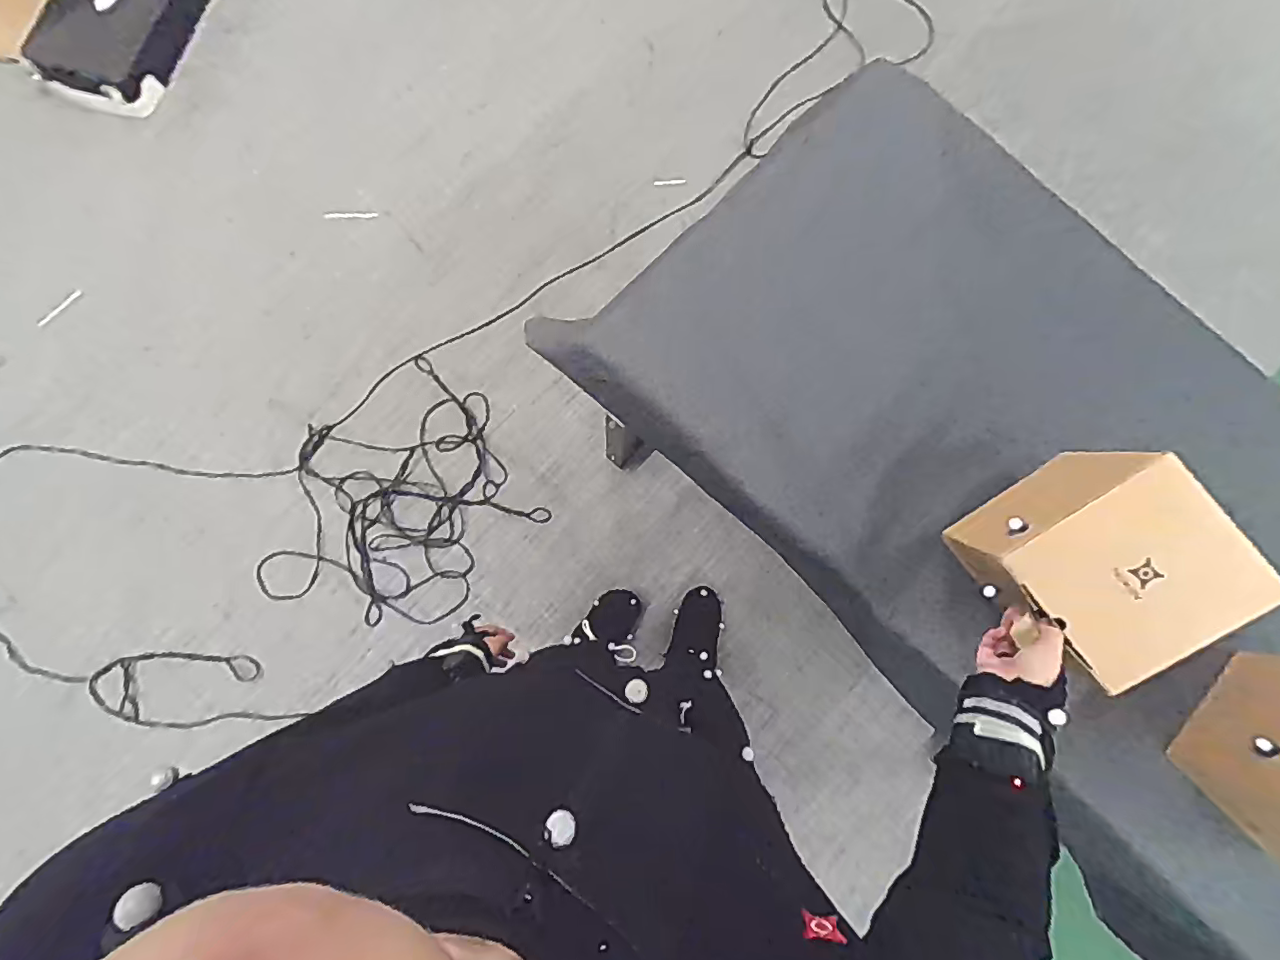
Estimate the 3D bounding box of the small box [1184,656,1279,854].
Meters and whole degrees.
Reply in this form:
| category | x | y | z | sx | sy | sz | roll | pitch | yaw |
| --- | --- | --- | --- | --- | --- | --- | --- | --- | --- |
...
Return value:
| category | x | y | z | sx | sy | sz | roll | pitch | yaw |
| --- | --- | --- | --- | --- | --- | --- | --- | --- | --- |
| small box | 0.759 | 0.317 | 0.580 | 0.168 | 0.176 | 0.179 | 44 | 79 | 2 |

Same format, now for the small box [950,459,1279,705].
| category | x | y | z | sx | sy | sz | roll | pitch | yaw |
| --- | --- | --- | --- | --- | --- | --- | --- | --- | --- |
| small box | 0.476 | 0.089 | 0.570 | 0.179 | 0.176 | 0.168 | -39 | 86 | 11 |
